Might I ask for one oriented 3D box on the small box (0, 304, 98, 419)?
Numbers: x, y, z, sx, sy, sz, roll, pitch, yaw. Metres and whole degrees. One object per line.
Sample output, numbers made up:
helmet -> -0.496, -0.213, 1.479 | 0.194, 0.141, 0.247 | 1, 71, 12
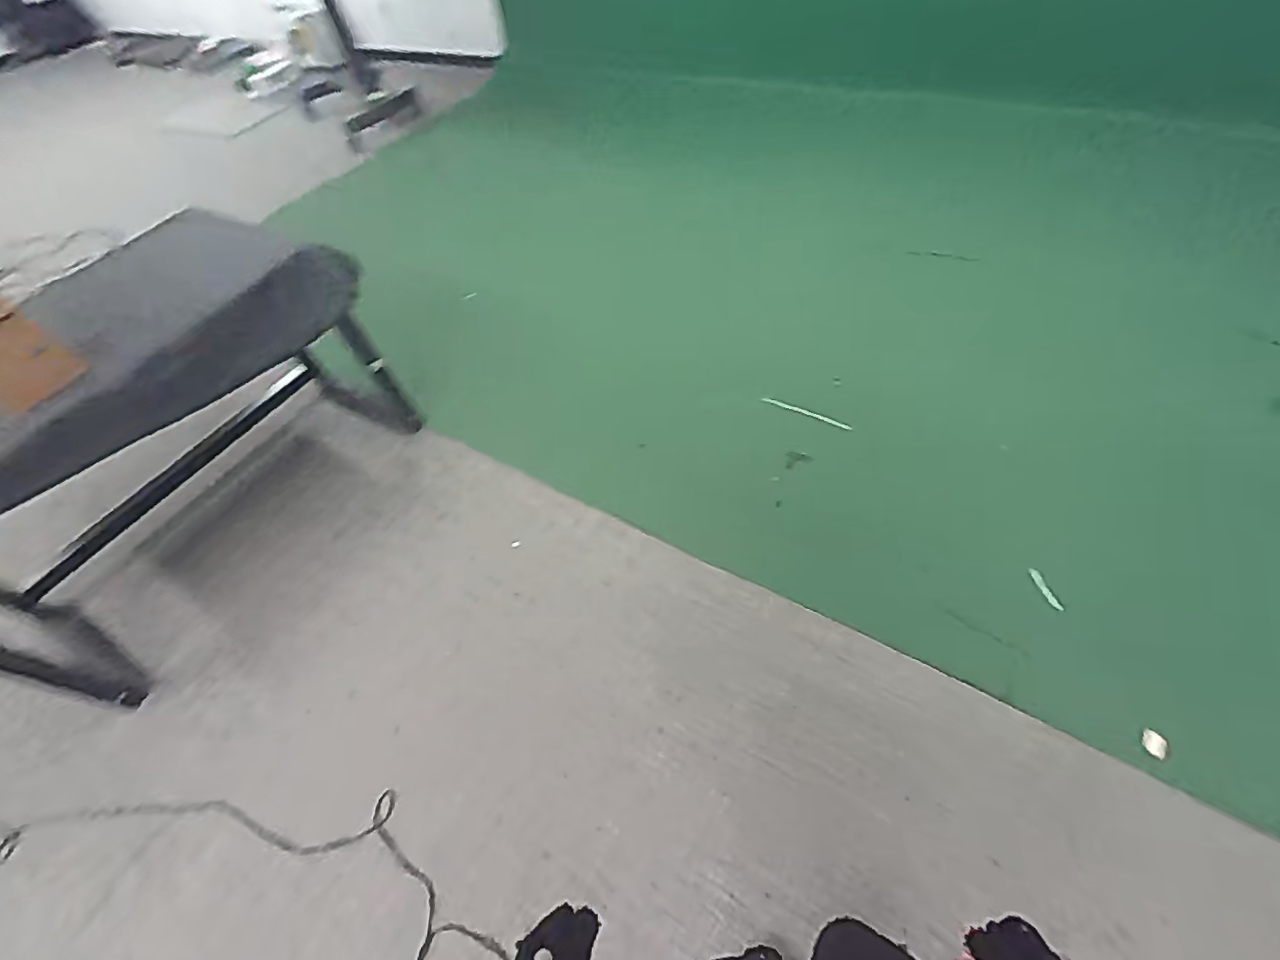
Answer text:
small box -> -1.336, -0.263, 1.162 | 0.168, 0.176, 0.179 | 20, 61, 24
